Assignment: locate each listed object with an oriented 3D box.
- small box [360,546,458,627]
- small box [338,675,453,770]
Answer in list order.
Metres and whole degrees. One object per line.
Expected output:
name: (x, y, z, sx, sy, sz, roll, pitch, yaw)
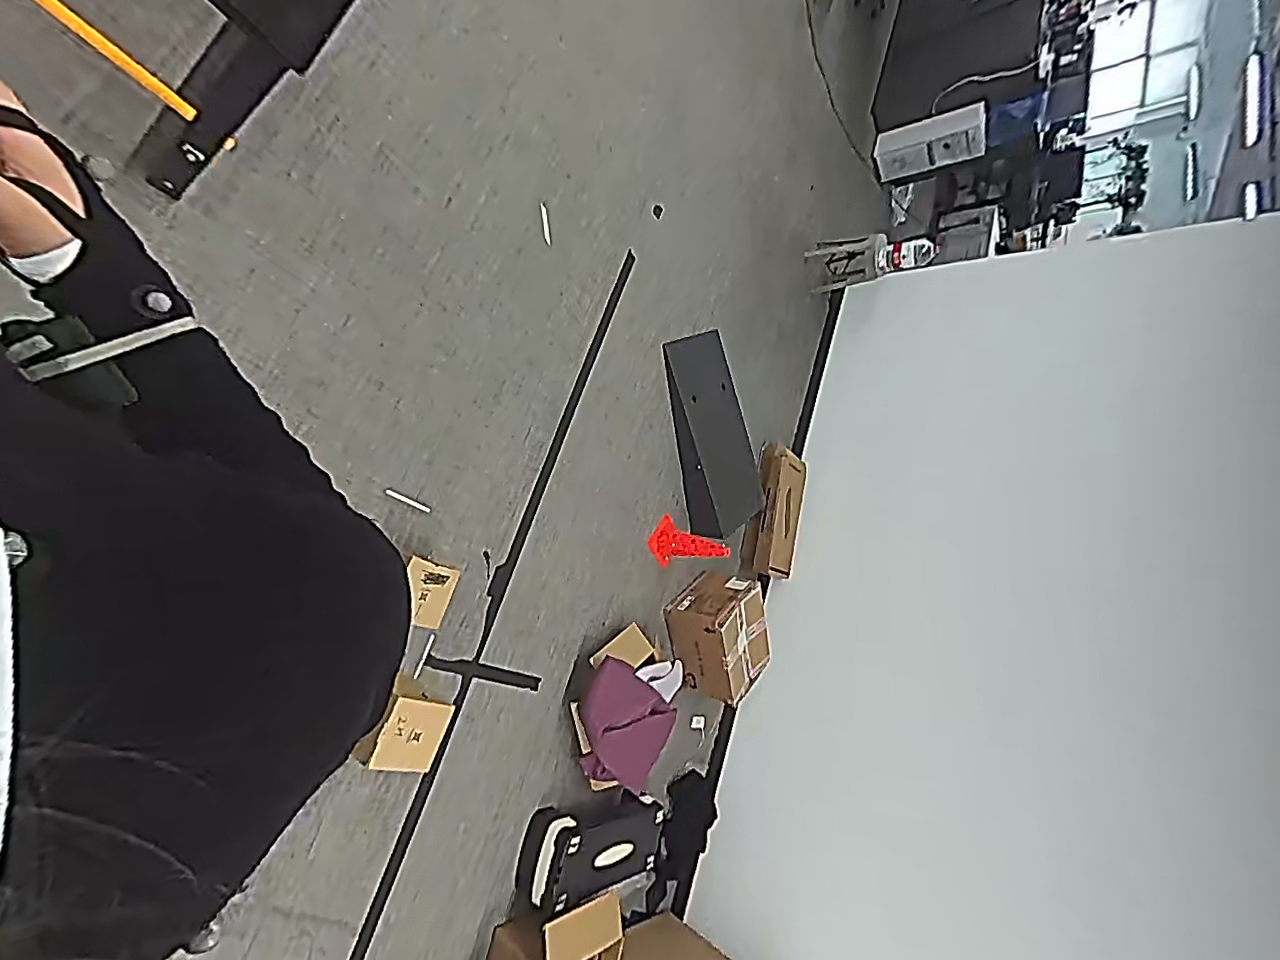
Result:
small box: (-0.661, 0.300, 1.541, 0.168, 0.176, 0.179, 35, 69, -47)
small box: (-0.619, 0.611, 1.371, 0.179, 0.176, 0.168, 39, 65, -45)
